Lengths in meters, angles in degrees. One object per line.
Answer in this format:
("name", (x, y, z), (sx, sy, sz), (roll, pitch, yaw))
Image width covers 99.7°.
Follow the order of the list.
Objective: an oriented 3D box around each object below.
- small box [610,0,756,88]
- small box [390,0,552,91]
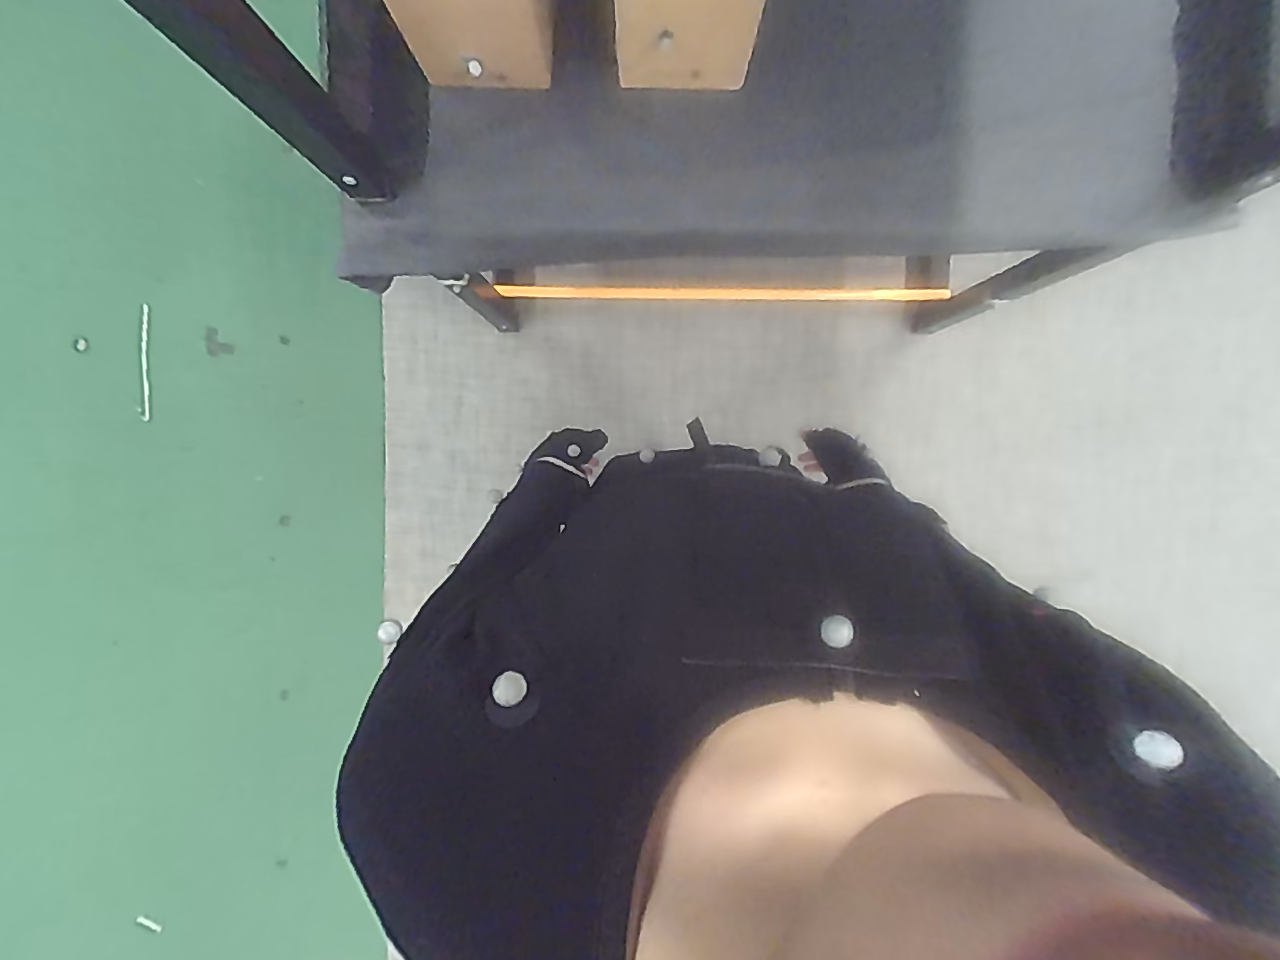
("small box", (0.052, -0.609, 0.647), (0.168, 0.176, 0.179), (1, 93, 0))
("small box", (-0.201, -0.612, 0.645), (0.168, 0.176, 0.179), (1, 93, 0))
